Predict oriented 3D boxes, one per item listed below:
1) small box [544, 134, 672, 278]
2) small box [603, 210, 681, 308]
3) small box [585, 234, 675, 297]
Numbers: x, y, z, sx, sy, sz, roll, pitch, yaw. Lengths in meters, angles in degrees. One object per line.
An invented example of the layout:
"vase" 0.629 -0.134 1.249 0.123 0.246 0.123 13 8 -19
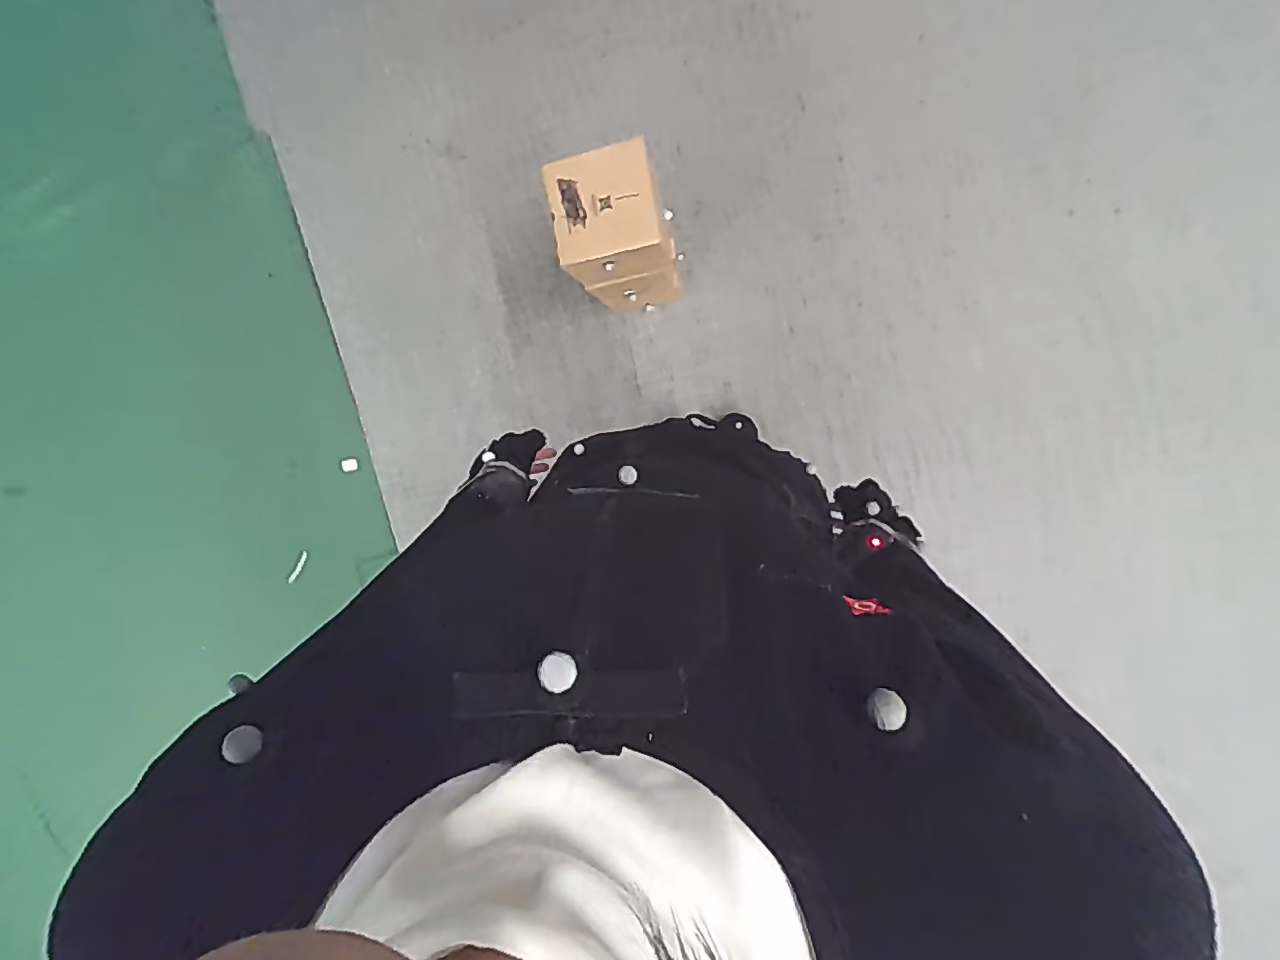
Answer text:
"small box" -0.048 -0.471 0.961 0.179 0.176 0.168 -8 98 11
"small box" 0.001 -0.516 1.281 0.179 0.176 0.168 -8 98 10
"small box" -0.027 -0.496 1.123 0.168 0.176 0.179 -9 98 12
